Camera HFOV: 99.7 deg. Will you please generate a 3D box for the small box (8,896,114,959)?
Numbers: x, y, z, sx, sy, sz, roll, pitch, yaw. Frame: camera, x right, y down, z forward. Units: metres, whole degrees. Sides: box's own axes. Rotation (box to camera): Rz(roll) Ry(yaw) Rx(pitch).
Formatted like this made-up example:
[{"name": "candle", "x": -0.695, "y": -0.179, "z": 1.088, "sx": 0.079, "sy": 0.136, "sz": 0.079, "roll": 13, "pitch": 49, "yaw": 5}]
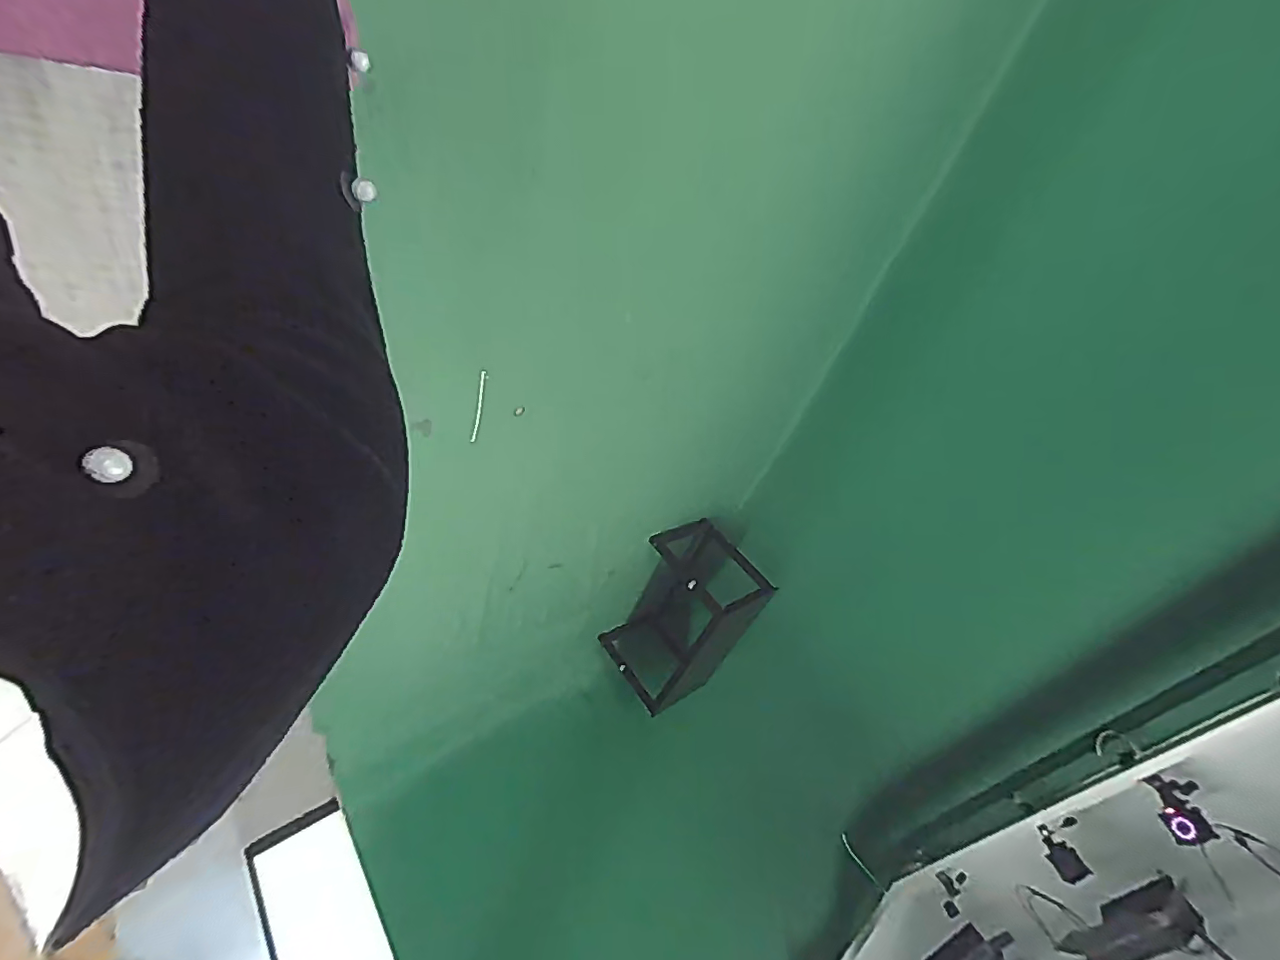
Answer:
[{"name": "small box", "x": -1.538, "y": 1.264, "z": 1.443, "sx": 0.168, "sy": 0.176, "sz": 0.179, "roll": -15, "pitch": 140, "yaw": -41}]
